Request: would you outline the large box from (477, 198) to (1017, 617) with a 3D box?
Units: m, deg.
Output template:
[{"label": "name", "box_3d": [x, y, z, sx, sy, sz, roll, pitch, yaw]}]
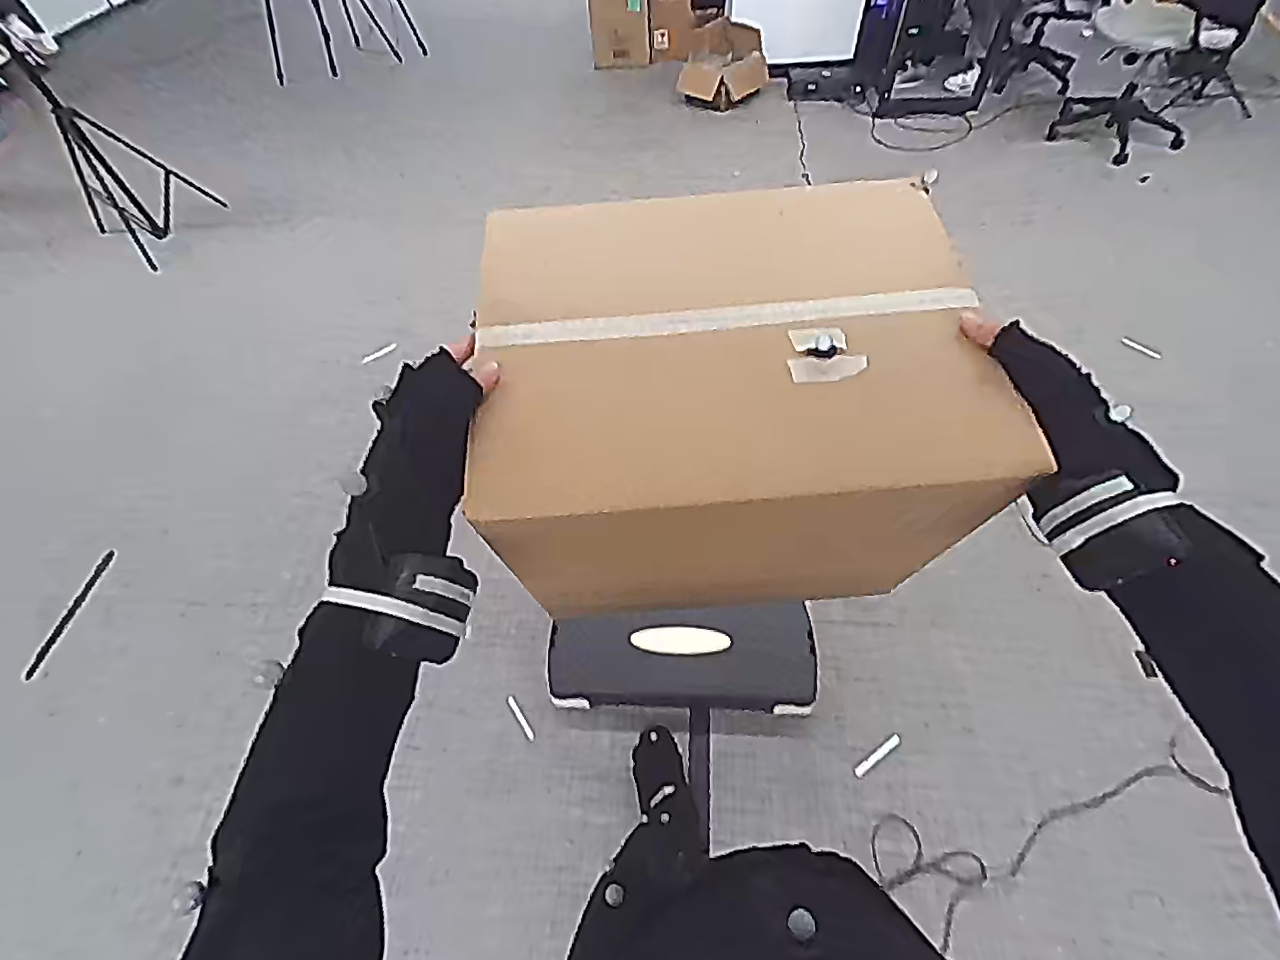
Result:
[{"label": "large box", "box_3d": [0.070, -0.054, 0.589, 0.408, 0.320, 0.320, -5, 63, 0]}]
